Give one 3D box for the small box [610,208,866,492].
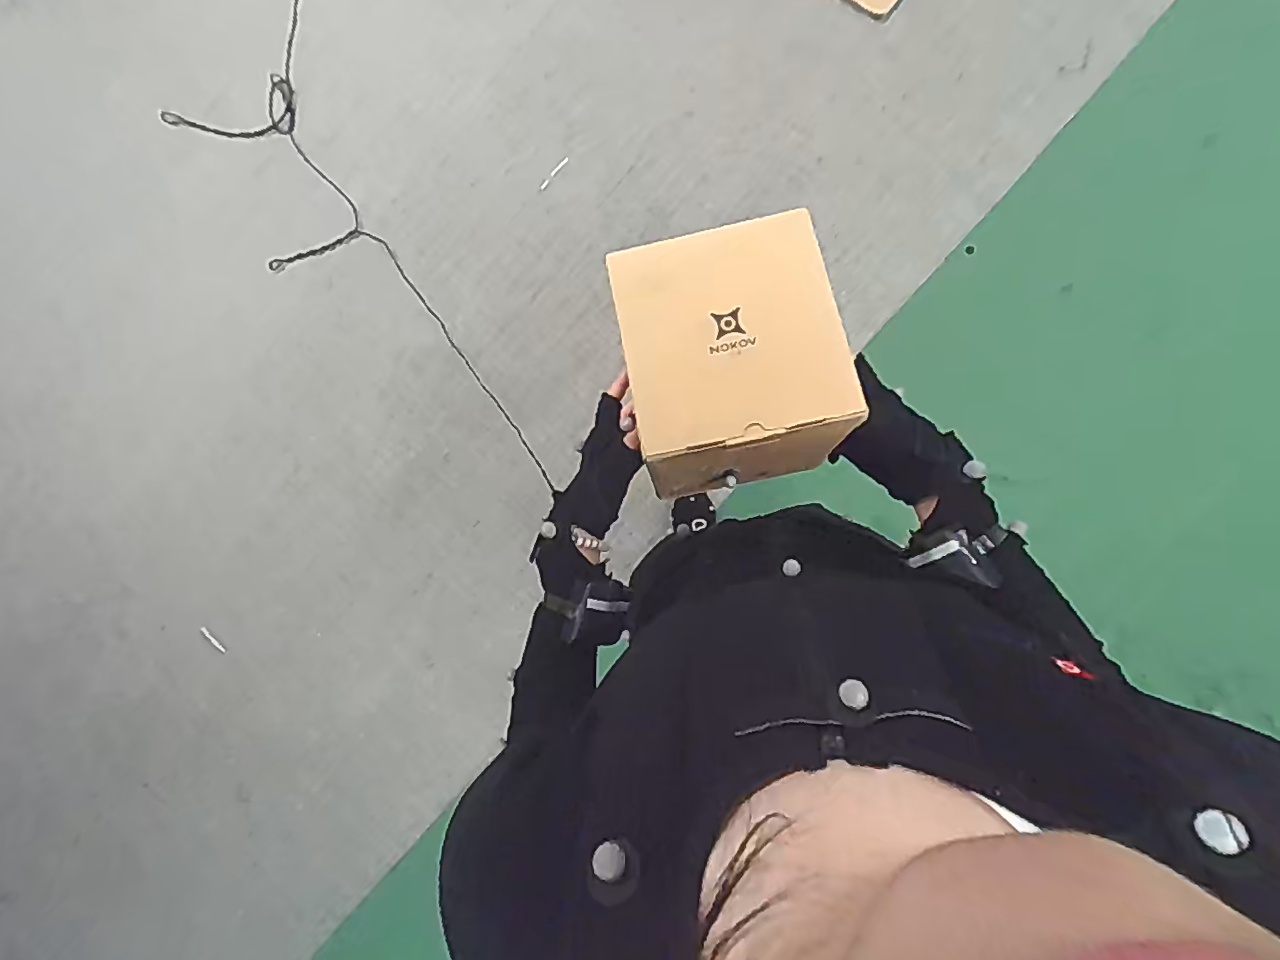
[{"bbox_3d":[0.075,-0.101,0.488,0.168,0.176,0.179,-12,78,3],"label":"small box"}]
